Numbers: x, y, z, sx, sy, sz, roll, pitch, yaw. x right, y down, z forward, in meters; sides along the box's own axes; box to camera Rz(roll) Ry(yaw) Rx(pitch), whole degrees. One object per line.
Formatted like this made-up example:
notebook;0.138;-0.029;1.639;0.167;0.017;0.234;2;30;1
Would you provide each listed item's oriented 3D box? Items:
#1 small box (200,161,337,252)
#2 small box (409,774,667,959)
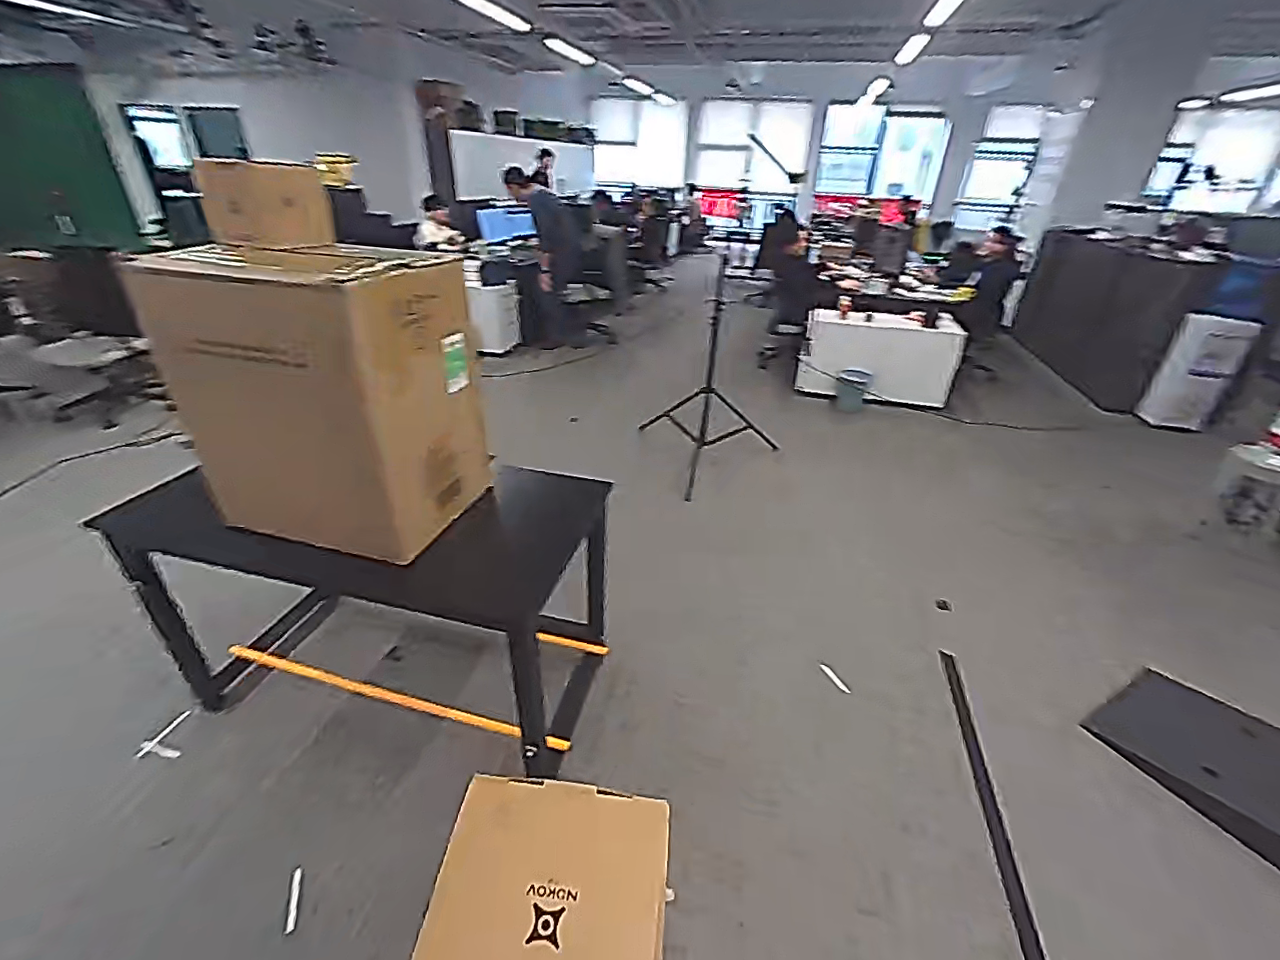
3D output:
small box;-0.821;-0.616;1.218;0.168;0.176;0.179;10;30;12
small box;-0.075;0.366;0.421;0.168;0.176;0.179;7;38;1
